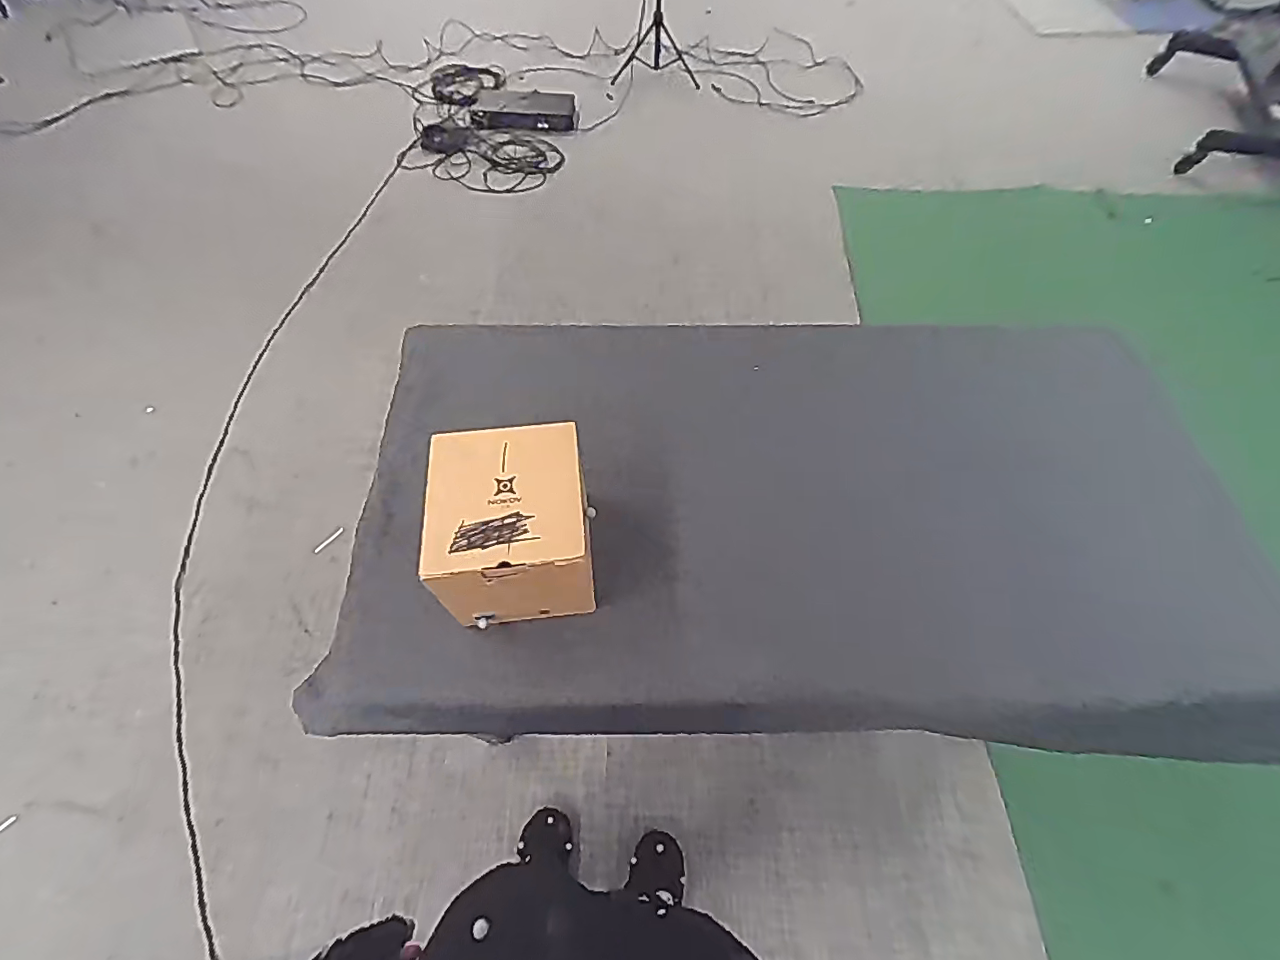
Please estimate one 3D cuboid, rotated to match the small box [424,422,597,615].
[{"bbox_3d":[-0.143,0.054,0.651,0.168,0.176,0.179,-6,58,-4],"label":"small box"}]
